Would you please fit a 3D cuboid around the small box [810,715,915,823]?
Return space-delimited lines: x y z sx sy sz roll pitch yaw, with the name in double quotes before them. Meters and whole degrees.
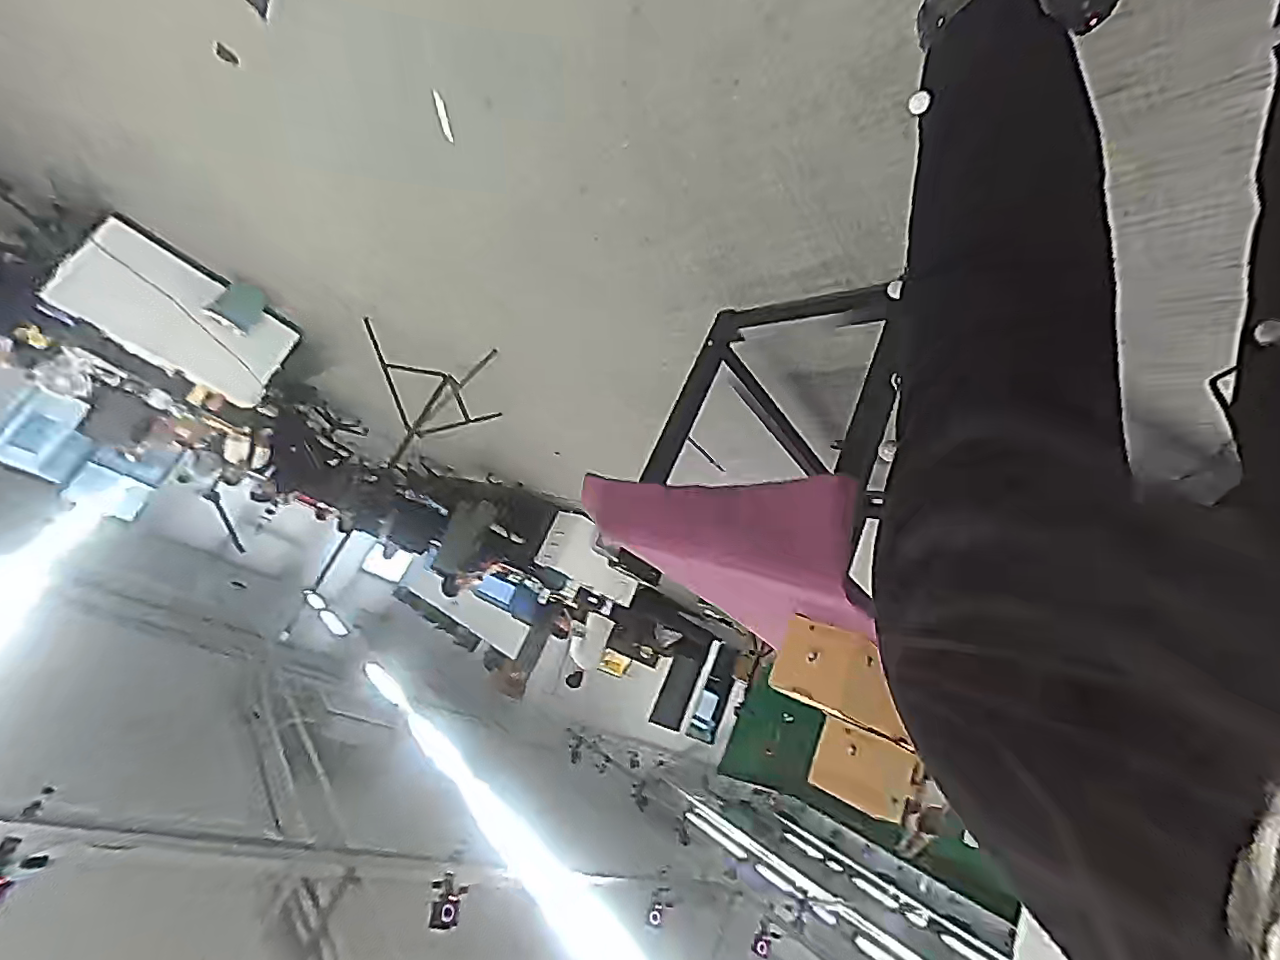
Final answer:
"small box" 0.552 0.706 1.329 0.168 0.176 0.179 5 155 48

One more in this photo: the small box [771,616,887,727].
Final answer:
"small box" 0.425 0.421 1.206 0.168 0.176 0.179 6 155 47

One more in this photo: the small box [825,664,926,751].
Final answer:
"small box" 0.612 0.563 1.387 0.168 0.176 0.179 36 161 -35
